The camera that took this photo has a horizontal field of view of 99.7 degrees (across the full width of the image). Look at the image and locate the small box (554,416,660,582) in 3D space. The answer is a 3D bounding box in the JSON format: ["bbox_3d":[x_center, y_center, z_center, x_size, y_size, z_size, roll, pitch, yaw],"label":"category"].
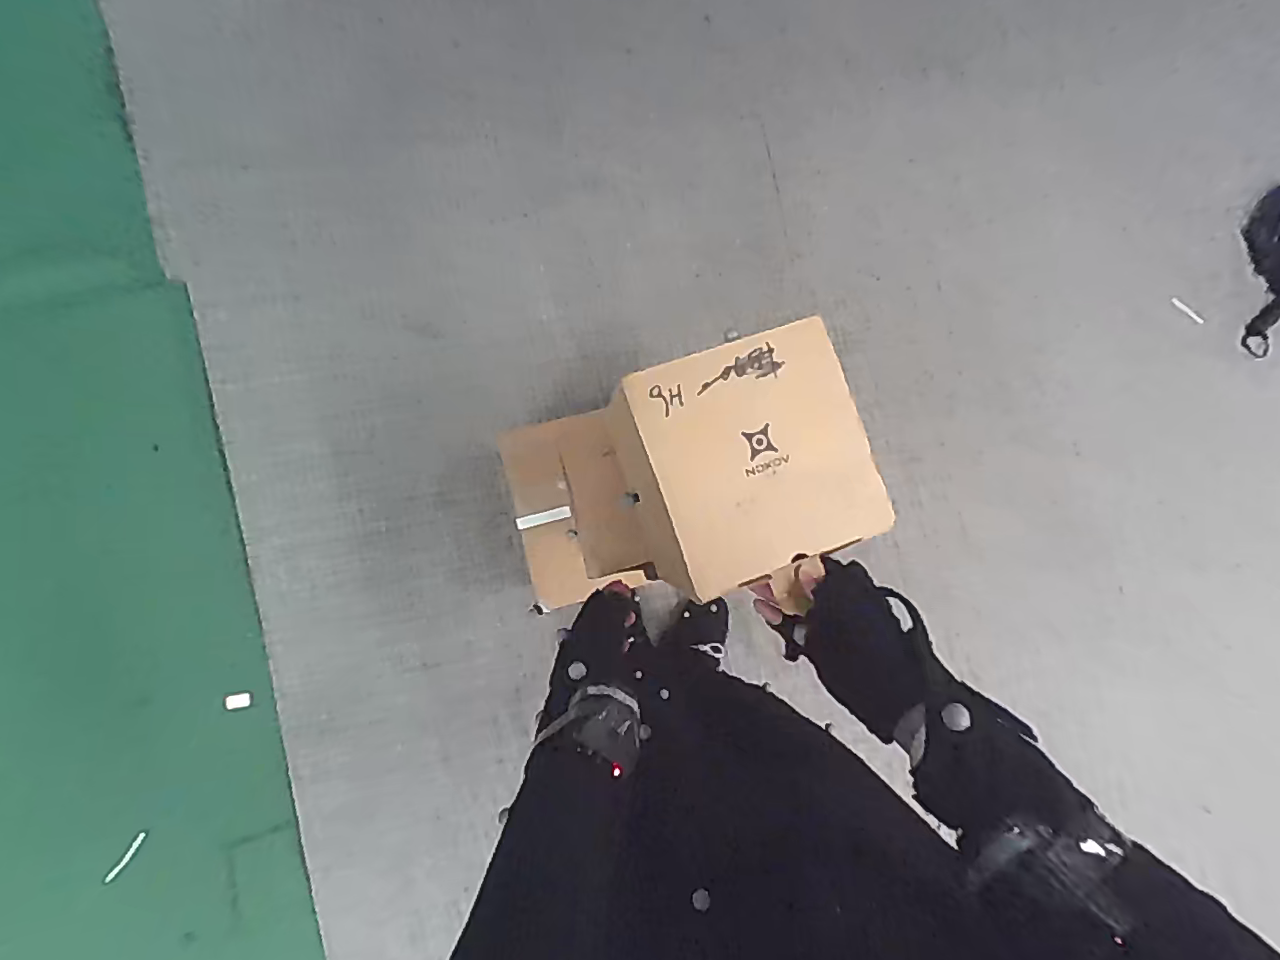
[{"bbox_3d":[-0.003,0.006,0.673,0.168,0.176,0.179,-15,94,-7],"label":"small box"}]

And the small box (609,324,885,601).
[{"bbox_3d":[0.079,-0.013,0.488,0.168,0.176,0.179,-19,89,-9],"label":"small box"}]
